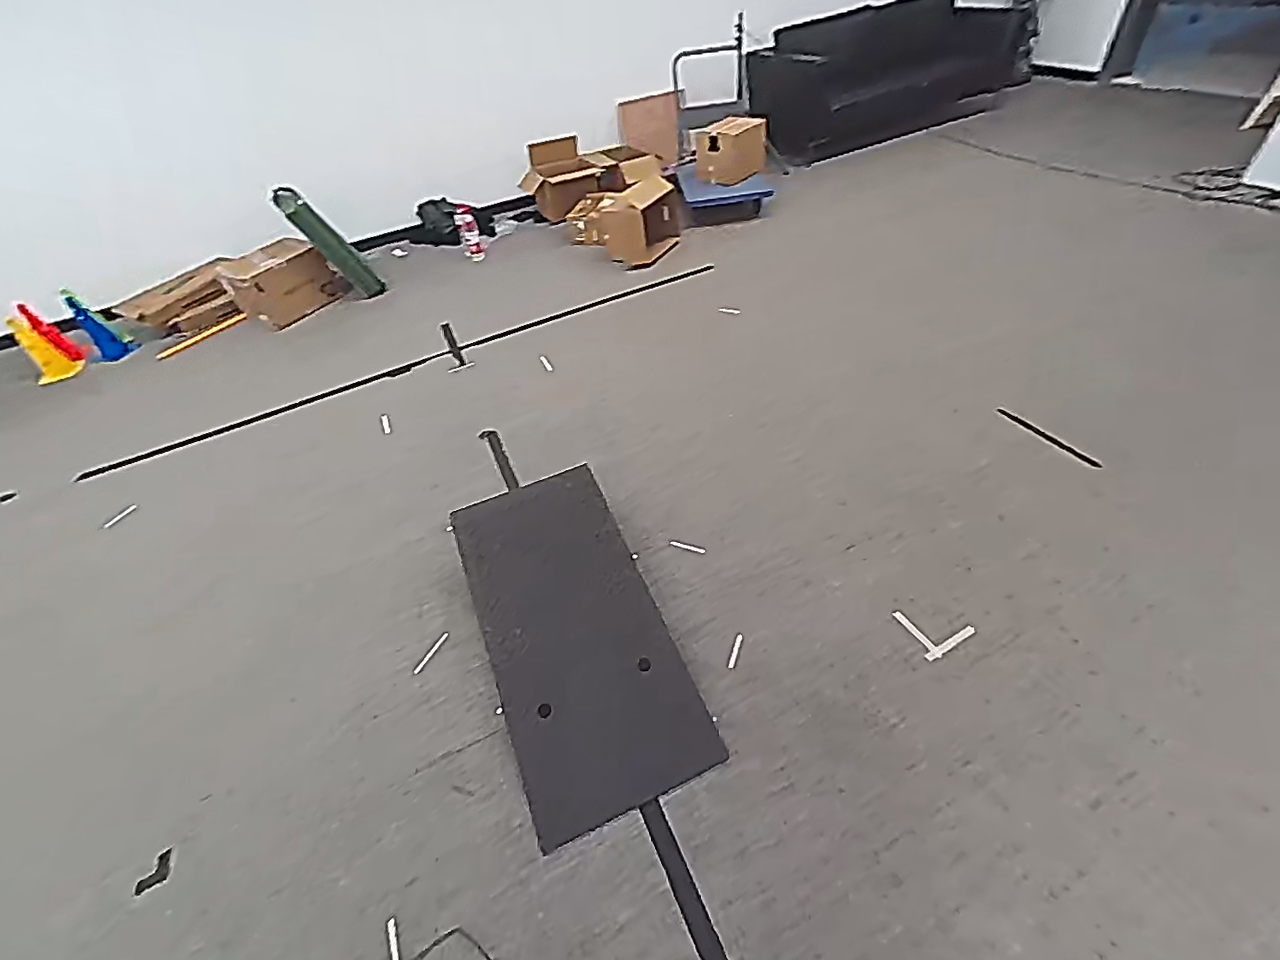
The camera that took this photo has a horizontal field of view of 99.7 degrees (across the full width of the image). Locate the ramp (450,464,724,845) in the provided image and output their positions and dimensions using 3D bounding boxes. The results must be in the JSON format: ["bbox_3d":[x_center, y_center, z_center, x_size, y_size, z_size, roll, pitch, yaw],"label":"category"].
[{"bbox_3d":[-0.201,0.396,1.561,0.509,0.206,0.991,-21,47,-14],"label":"ramp"}]
